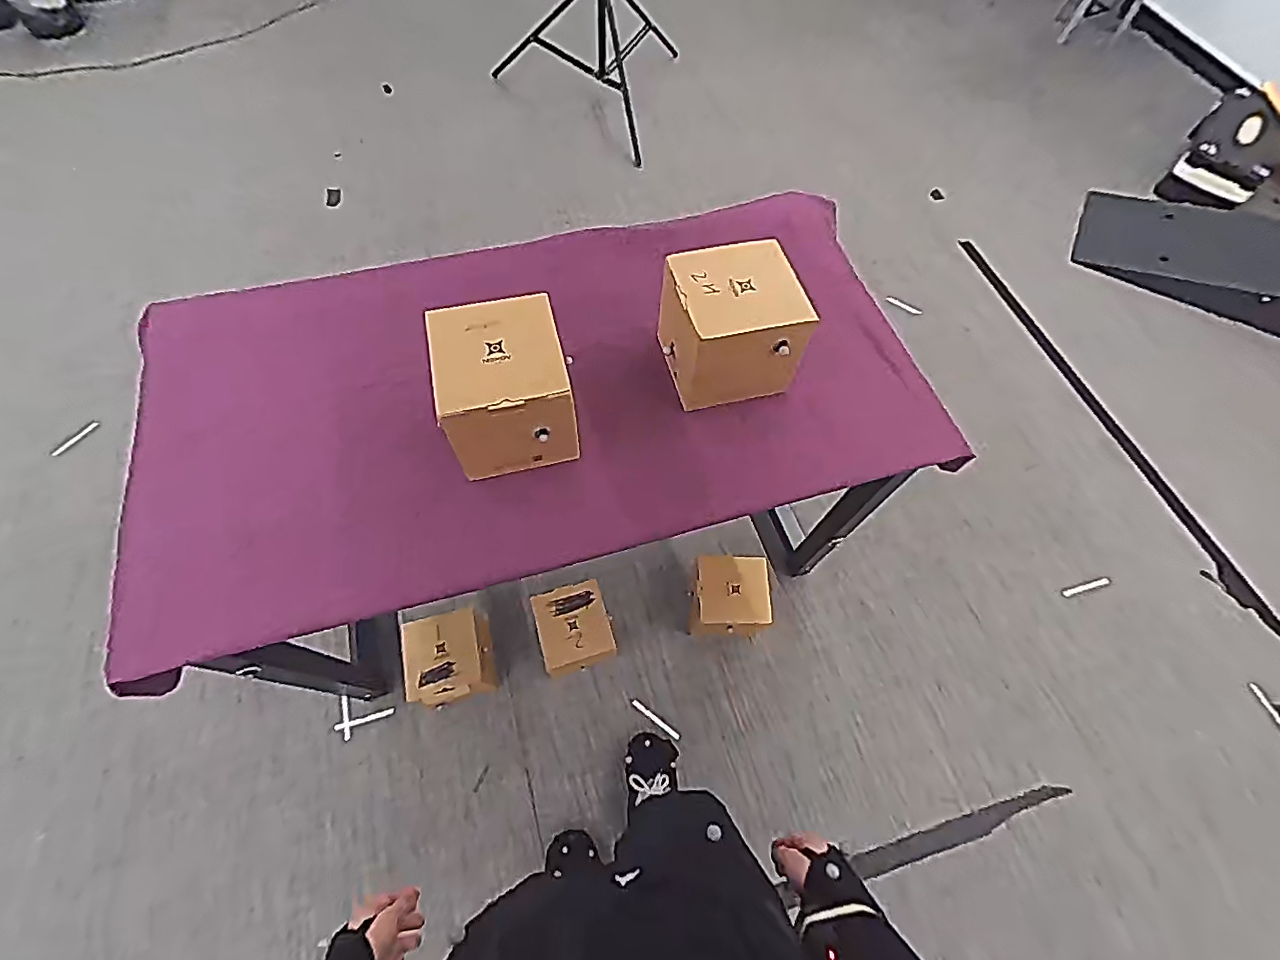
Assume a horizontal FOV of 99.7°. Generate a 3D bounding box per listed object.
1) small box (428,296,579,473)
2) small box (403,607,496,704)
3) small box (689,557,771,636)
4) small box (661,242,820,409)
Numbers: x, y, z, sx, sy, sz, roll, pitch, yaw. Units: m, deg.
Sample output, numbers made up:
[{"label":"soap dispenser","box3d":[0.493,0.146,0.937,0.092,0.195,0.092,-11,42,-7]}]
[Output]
[{"label":"small box","box3d":[-0.185,-0.124,0.762,0.168,0.176,0.179,-12,63,-10]},{"label":"small box","box3d":[-0.449,0.424,1.289,0.168,0.176,0.179,-13,64,-10]},{"label":"small box","box3d":[0.224,0.301,1.386,0.179,0.176,0.168,1,64,-1]},{"label":"small box","box3d":[0.140,-0.231,0.829,0.179,0.176,0.168,-12,64,-8]}]
